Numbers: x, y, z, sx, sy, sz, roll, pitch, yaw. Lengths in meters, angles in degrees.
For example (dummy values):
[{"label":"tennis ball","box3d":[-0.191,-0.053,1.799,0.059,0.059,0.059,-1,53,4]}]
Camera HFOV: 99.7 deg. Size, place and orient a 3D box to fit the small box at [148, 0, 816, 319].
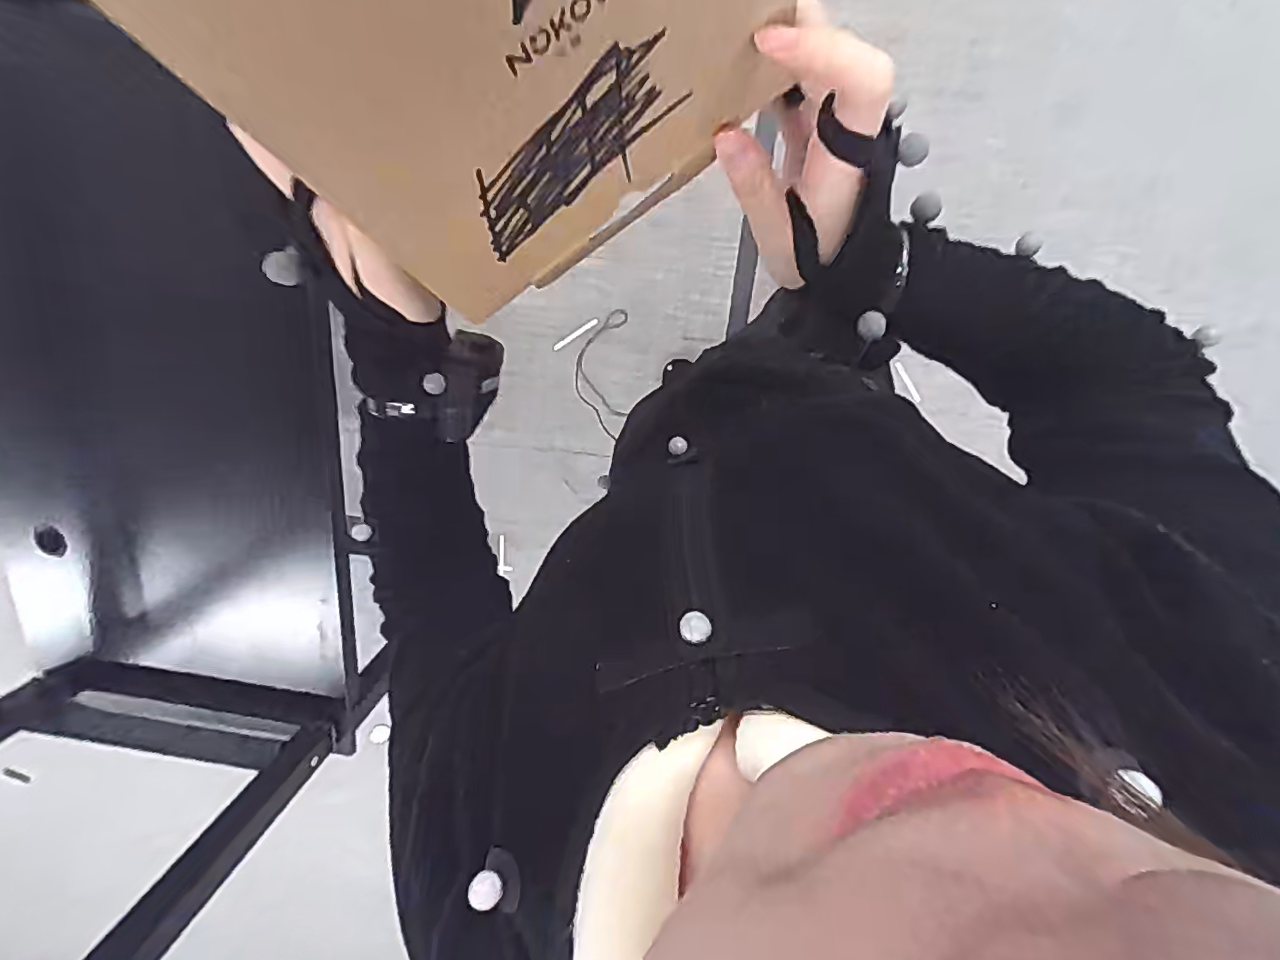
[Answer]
[{"label":"small box","box3d":[-0.061,-0.195,0.170,0.168,0.179,0.176,-35,70,5]}]
